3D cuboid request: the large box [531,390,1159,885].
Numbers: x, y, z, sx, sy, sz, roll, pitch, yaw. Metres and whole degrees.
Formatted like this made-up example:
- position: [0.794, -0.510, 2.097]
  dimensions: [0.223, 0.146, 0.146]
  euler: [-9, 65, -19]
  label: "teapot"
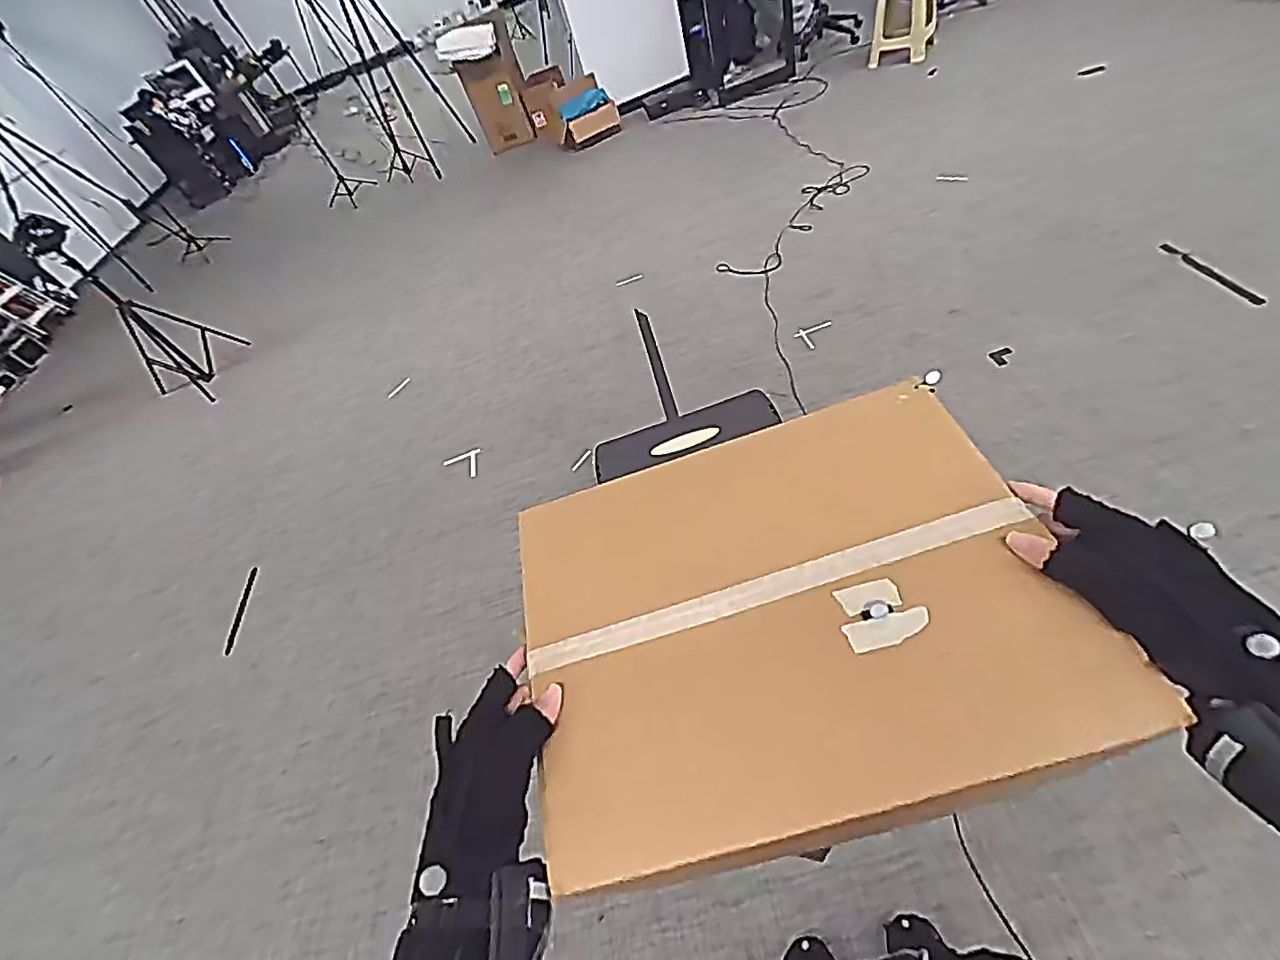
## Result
- position: [0.144, 0.176, 0.556]
  dimensions: [0.408, 0.320, 0.320]
  euler: [-19, 52, 4]
  label: "large box"
